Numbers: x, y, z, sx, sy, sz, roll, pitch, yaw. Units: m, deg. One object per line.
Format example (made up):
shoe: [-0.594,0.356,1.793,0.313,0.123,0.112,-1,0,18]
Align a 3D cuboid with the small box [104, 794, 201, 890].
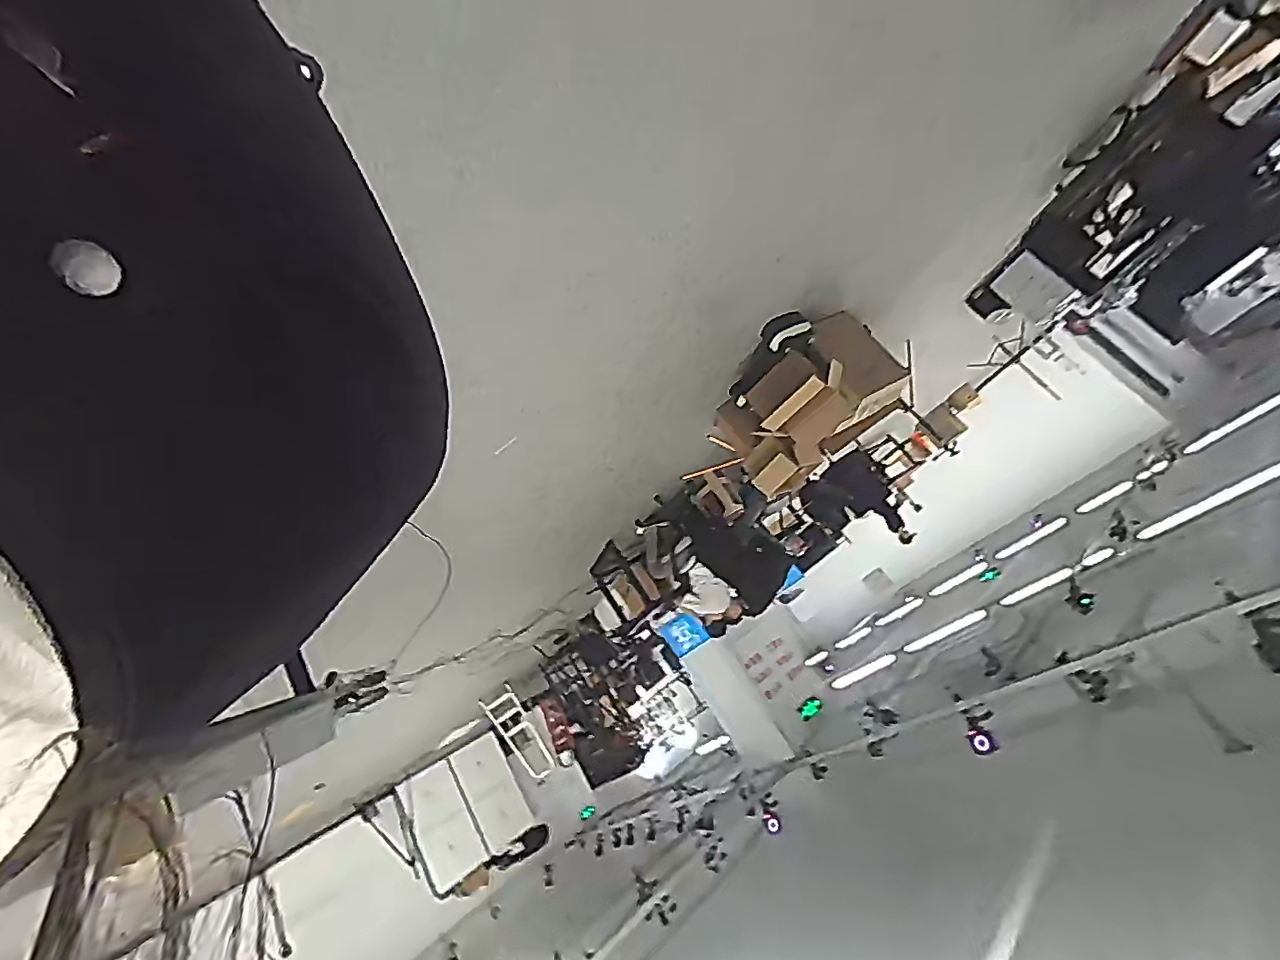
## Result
small box: [-1.482,1.098,1.643,0.179,0.176,0.168,-22,156,-36]
